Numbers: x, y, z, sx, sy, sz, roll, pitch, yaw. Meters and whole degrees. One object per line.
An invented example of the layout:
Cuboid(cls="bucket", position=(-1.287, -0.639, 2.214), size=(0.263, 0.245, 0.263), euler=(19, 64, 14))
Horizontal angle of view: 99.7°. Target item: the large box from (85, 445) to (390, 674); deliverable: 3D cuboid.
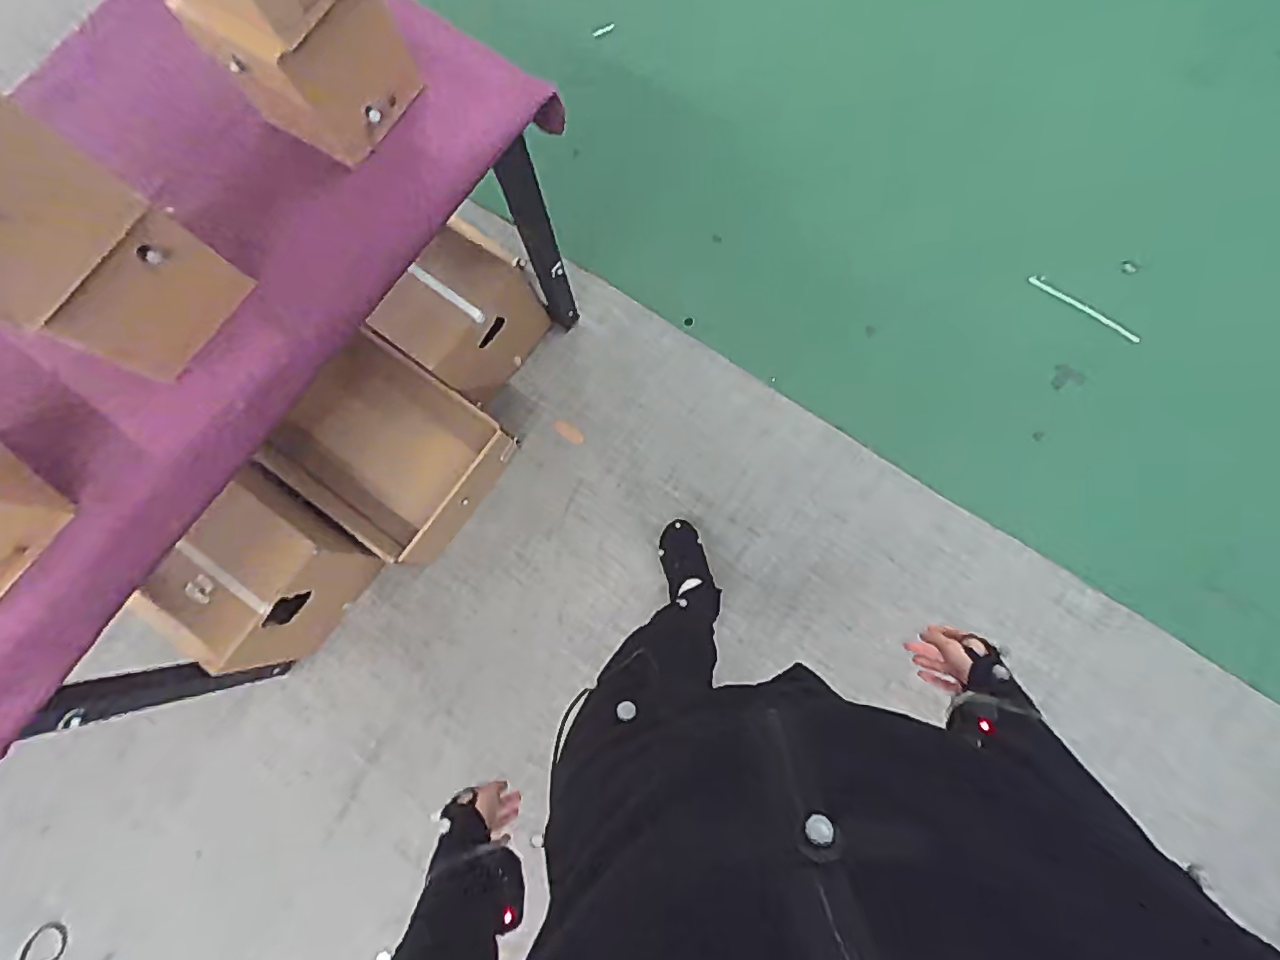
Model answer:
Cuboid(cls="large box", position=(-0.888, 0.181, 1.249), size=(0.408, 0.320, 0.320), euler=(34, 82, 7))

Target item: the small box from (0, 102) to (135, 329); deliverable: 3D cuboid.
Cuboid(cls="small box", position=(-0.629, -0.269, 0.483), size=(0.168, 0.176, 0.179), euler=(32, 82, 8))

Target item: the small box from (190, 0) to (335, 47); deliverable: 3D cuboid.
Cuboid(cls="small box", position=(-0.420, -0.590, 0.537), size=(0.179, 0.176, 0.168), euler=(32, 84, 9))

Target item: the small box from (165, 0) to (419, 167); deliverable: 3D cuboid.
Cuboid(cls="small box", position=(-0.430, -0.551, 0.698), size=(0.179, 0.176, 0.168), euler=(32, 83, 9))

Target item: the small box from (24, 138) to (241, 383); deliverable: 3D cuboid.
Cuboid(cls="small box", position=(-0.633, -0.250, 0.647), size=(0.168, 0.176, 0.179), euler=(33, 83, 10))

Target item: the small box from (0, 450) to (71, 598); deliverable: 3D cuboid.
Cuboid(cls="small box", position=(-0.823, 0.043, 0.599), size=(0.179, 0.176, 0.168), euler=(35, 82, 9))
